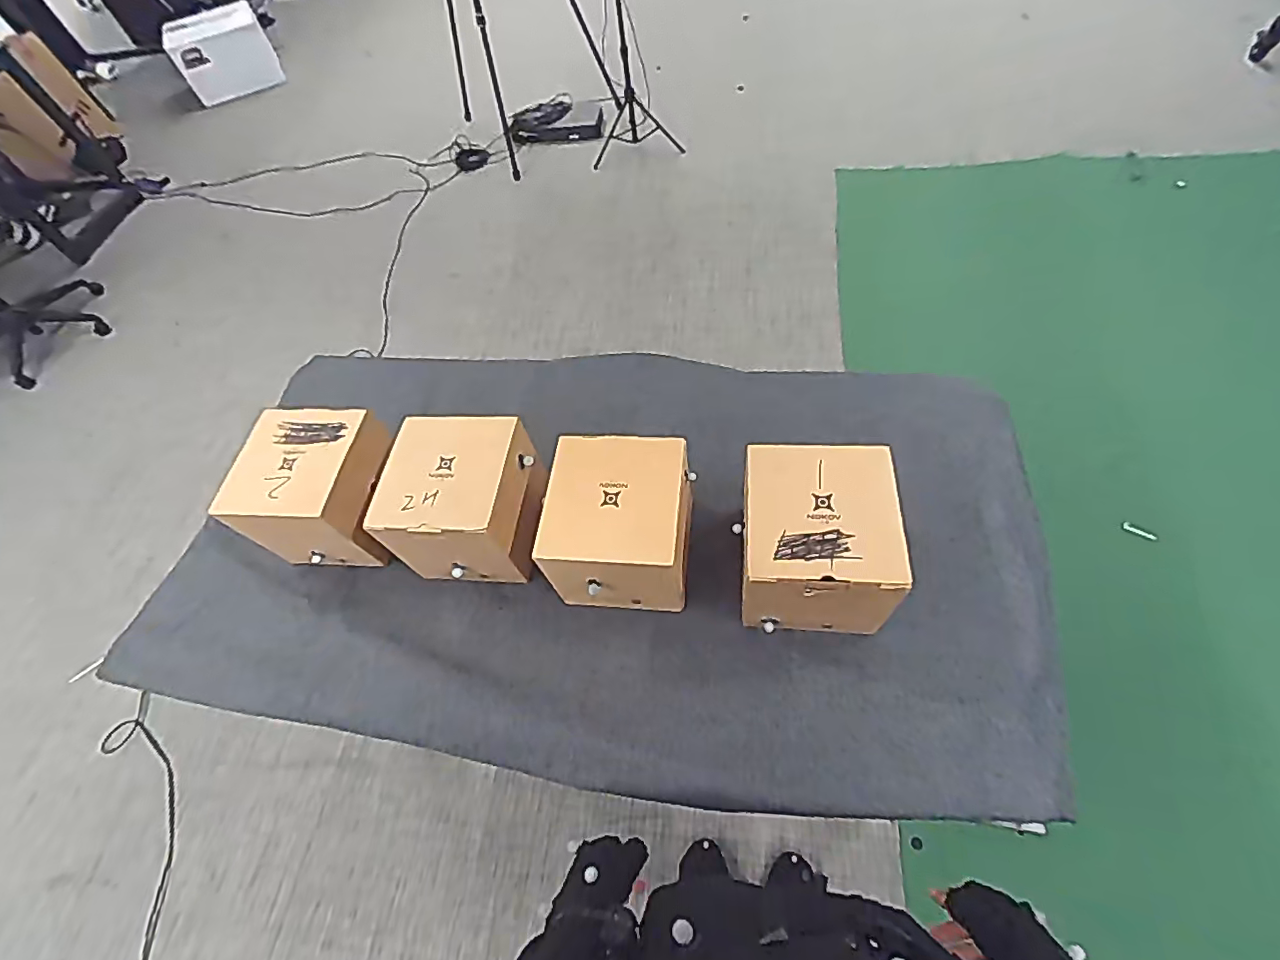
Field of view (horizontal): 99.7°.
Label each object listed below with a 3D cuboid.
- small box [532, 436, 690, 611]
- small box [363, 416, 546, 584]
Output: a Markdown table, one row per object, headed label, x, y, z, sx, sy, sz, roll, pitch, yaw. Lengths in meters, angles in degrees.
| label | x | y | z | sx | sy | sz | roll | pitch | yaw |
| --- | --- | --- | --- | --- | --- | --- | --- | --- | --- |
| small box | -0.024 | 0.061 | 0.707 | 0.168 | 0.176 | 0.179 | 1 | 58 | 9 |
| small box | -0.240 | 0.030 | 0.756 | 0.168 | 0.176 | 0.179 | 1 | 59 | 9 |
